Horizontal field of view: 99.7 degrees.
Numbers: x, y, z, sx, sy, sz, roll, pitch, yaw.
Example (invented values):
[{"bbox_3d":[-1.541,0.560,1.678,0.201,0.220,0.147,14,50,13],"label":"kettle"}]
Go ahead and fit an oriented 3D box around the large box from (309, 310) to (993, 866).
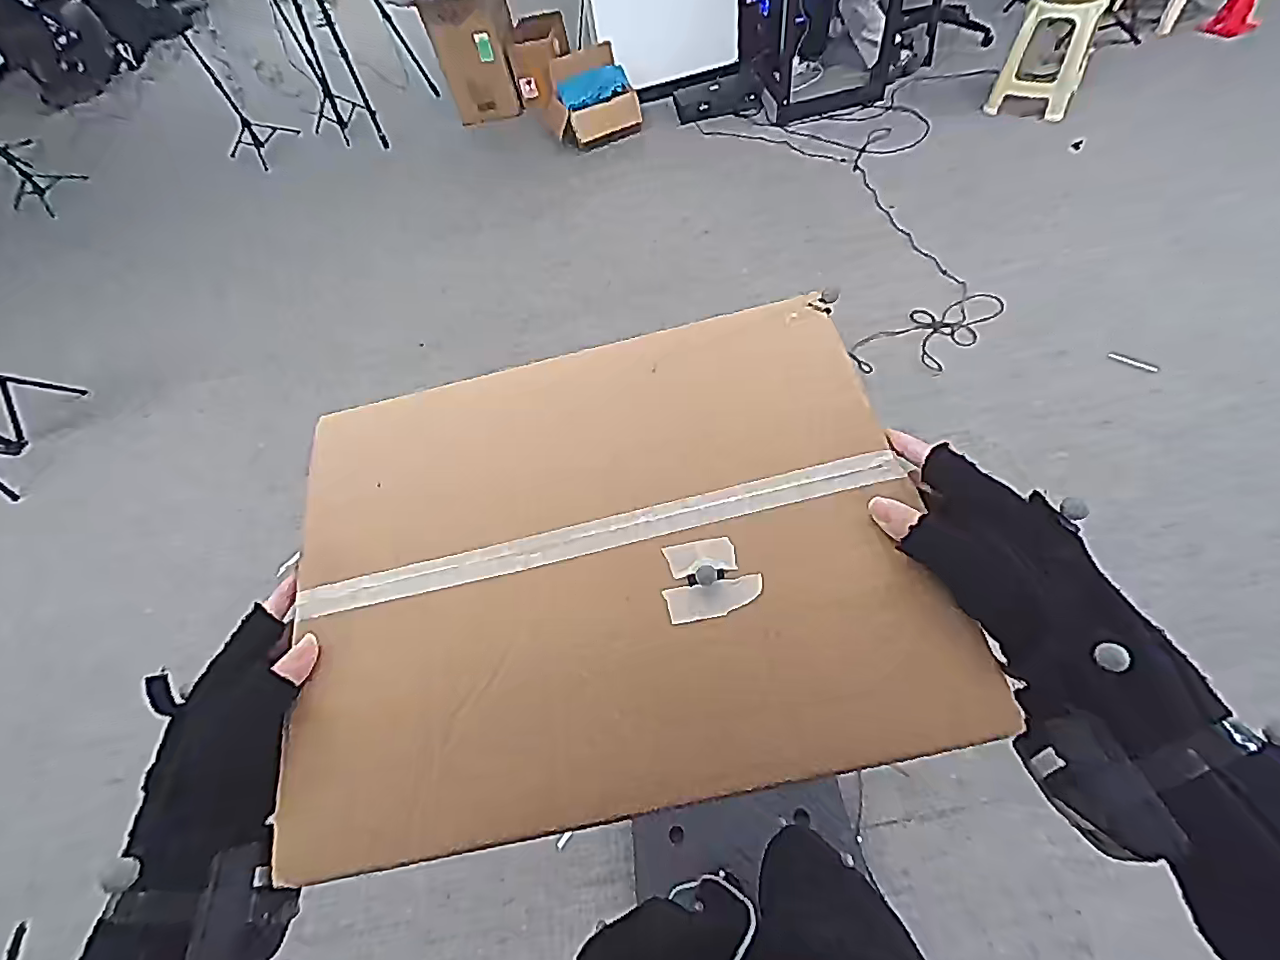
[{"bbox_3d":[-0.007,0.108,0.500,0.408,0.320,0.320,-13,63,2],"label":"large box"}]
